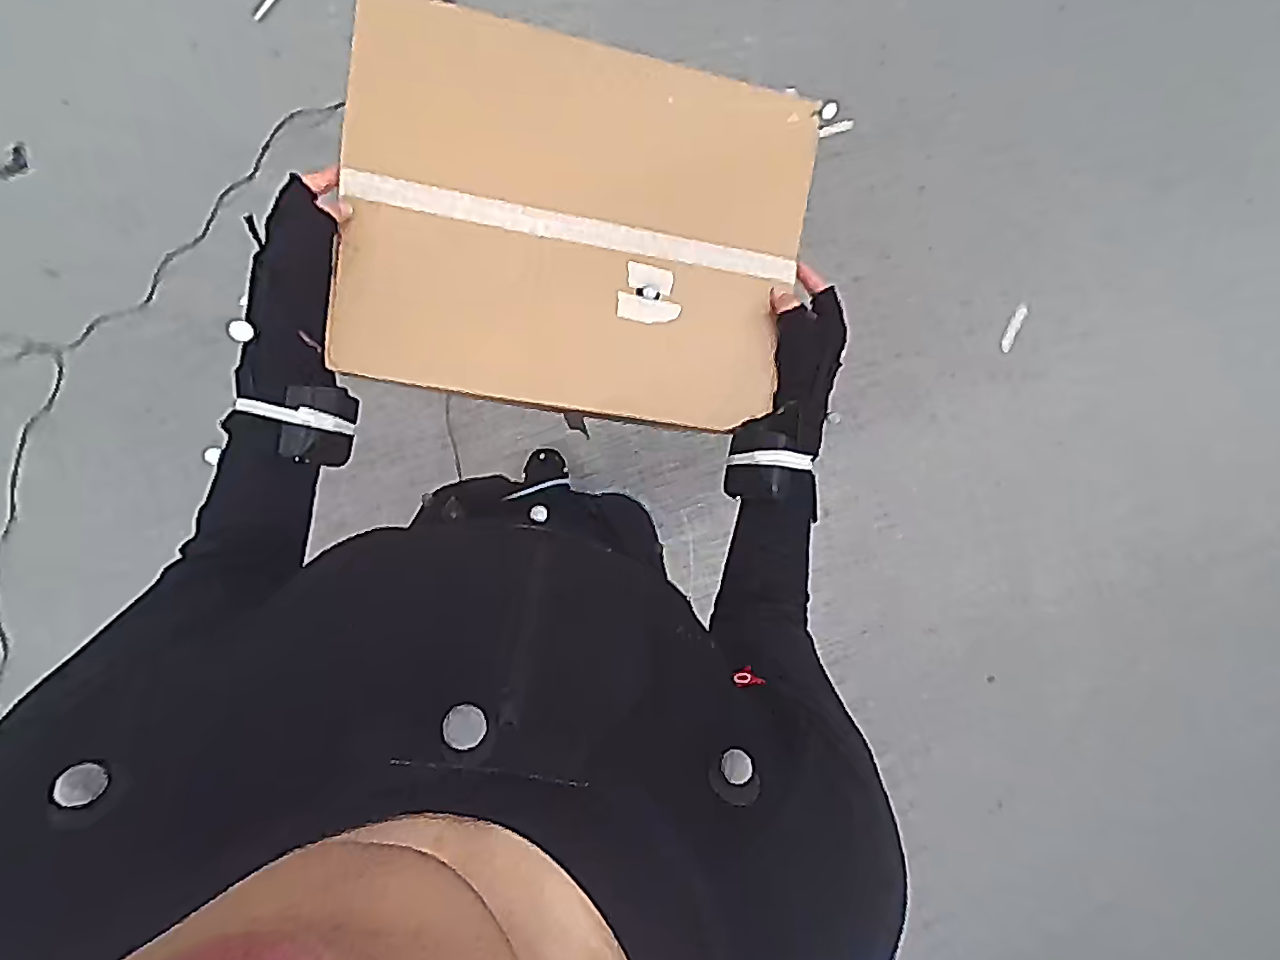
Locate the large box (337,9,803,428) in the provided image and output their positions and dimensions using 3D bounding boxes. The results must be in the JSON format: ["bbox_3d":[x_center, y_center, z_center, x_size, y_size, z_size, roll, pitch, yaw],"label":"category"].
[{"bbox_3d":[-0.081,-0.238,0.638,0.408,0.320,0.320,7,96,-10],"label":"large box"}]
